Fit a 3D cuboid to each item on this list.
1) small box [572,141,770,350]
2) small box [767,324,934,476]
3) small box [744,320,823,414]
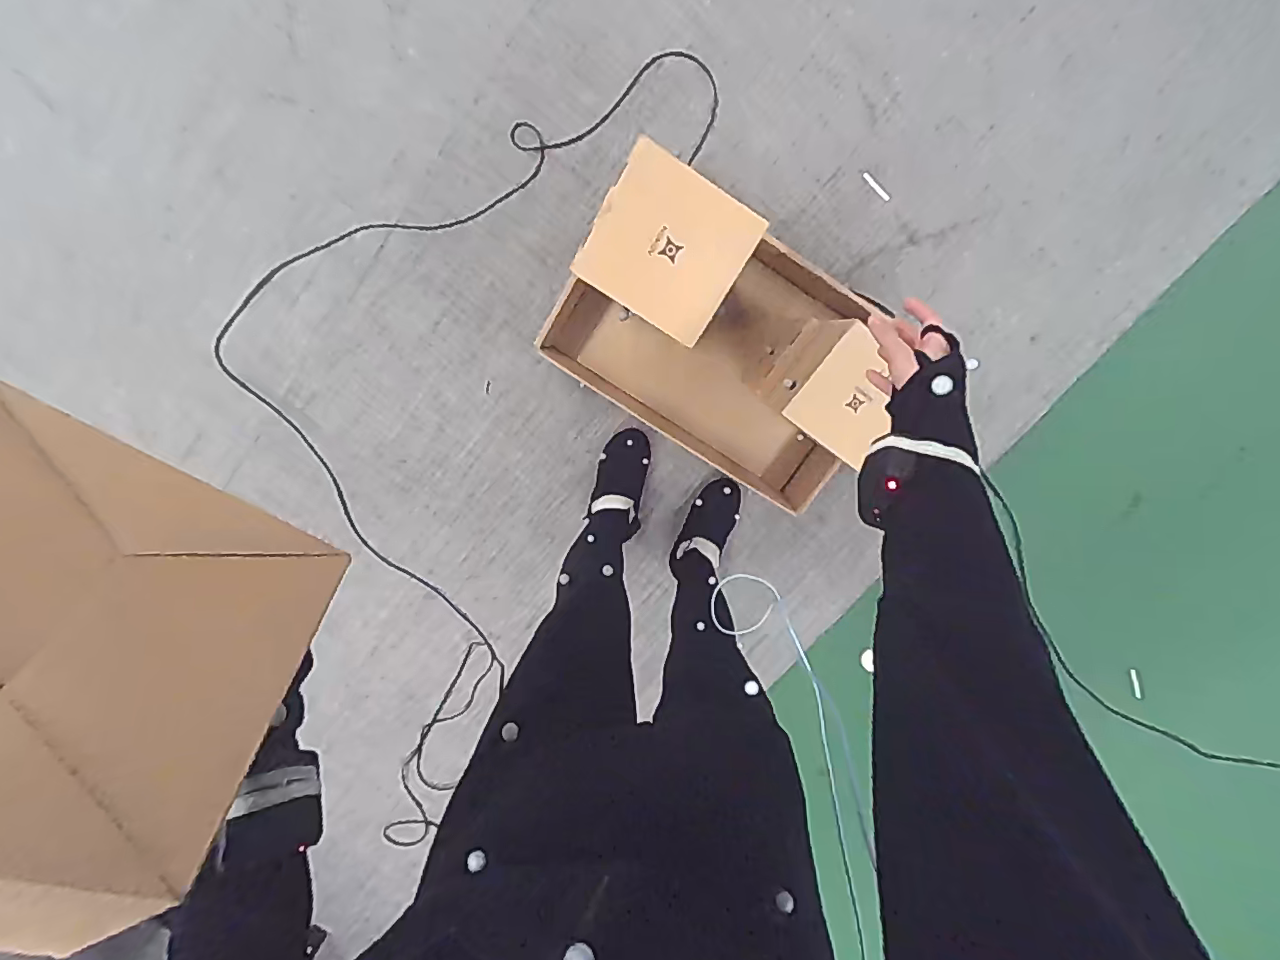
[{"bbox_3d":[0.039,-0.289,0.701,0.179,0.176,0.168,32,105,-6],"label":"small box"},{"bbox_3d":[0.331,-0.137,0.897,0.168,0.176,0.179,36,102,-9],"label":"small box"},{"bbox_3d":[0.324,-0.189,1.054,0.179,0.176,0.168,36,103,-7],"label":"small box"}]
